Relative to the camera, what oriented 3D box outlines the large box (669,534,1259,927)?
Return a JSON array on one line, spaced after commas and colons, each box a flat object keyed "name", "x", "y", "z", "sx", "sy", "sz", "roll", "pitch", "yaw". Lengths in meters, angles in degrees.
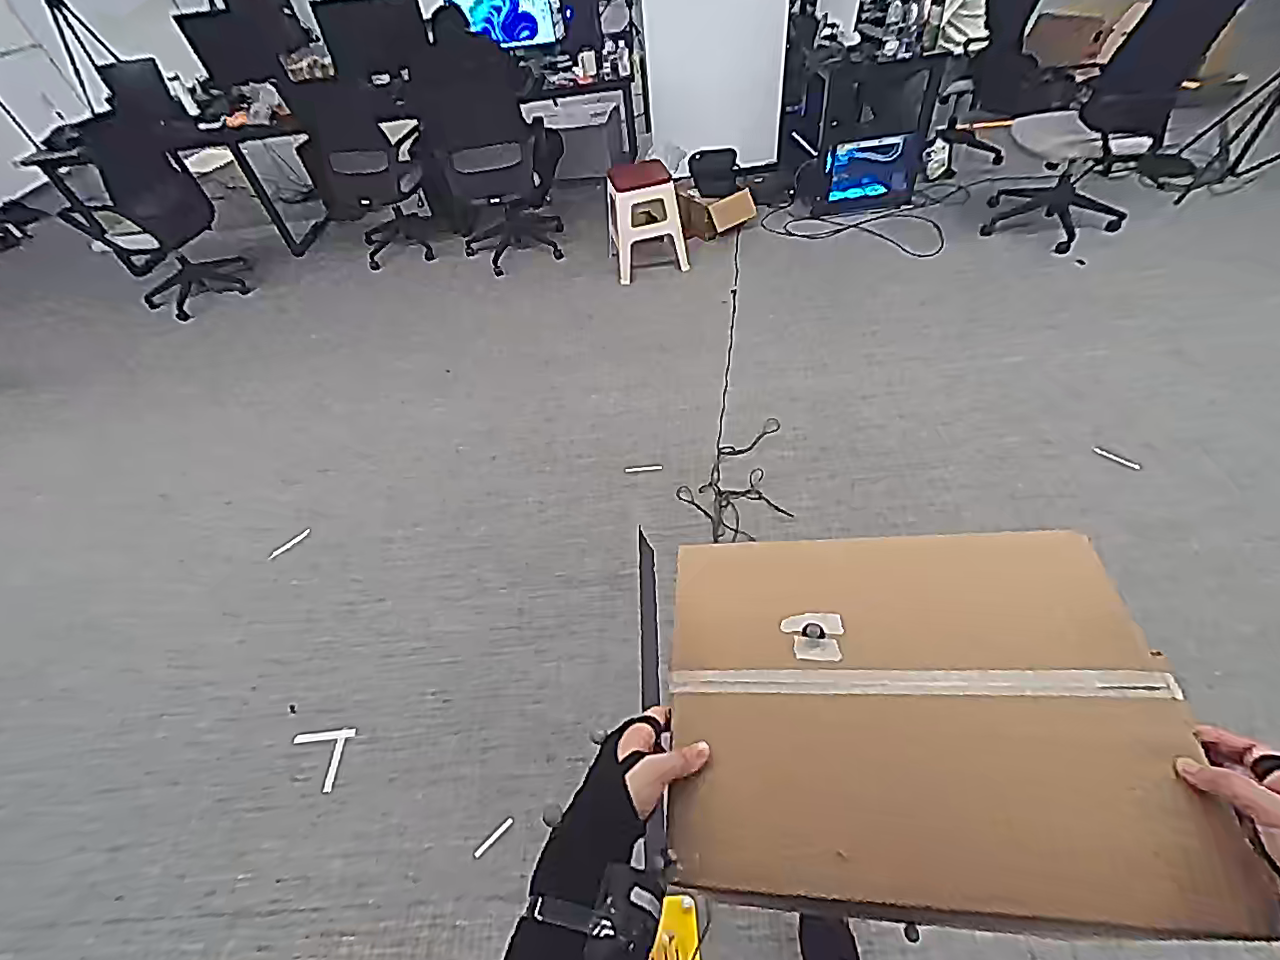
[{"name": "large box", "x": 0.261, "y": 0.284, "z": 0.599, "sx": 0.408, "sy": 0.320, "sz": 0.320, "roll": -5, "pitch": 48, "yaw": 13}]
